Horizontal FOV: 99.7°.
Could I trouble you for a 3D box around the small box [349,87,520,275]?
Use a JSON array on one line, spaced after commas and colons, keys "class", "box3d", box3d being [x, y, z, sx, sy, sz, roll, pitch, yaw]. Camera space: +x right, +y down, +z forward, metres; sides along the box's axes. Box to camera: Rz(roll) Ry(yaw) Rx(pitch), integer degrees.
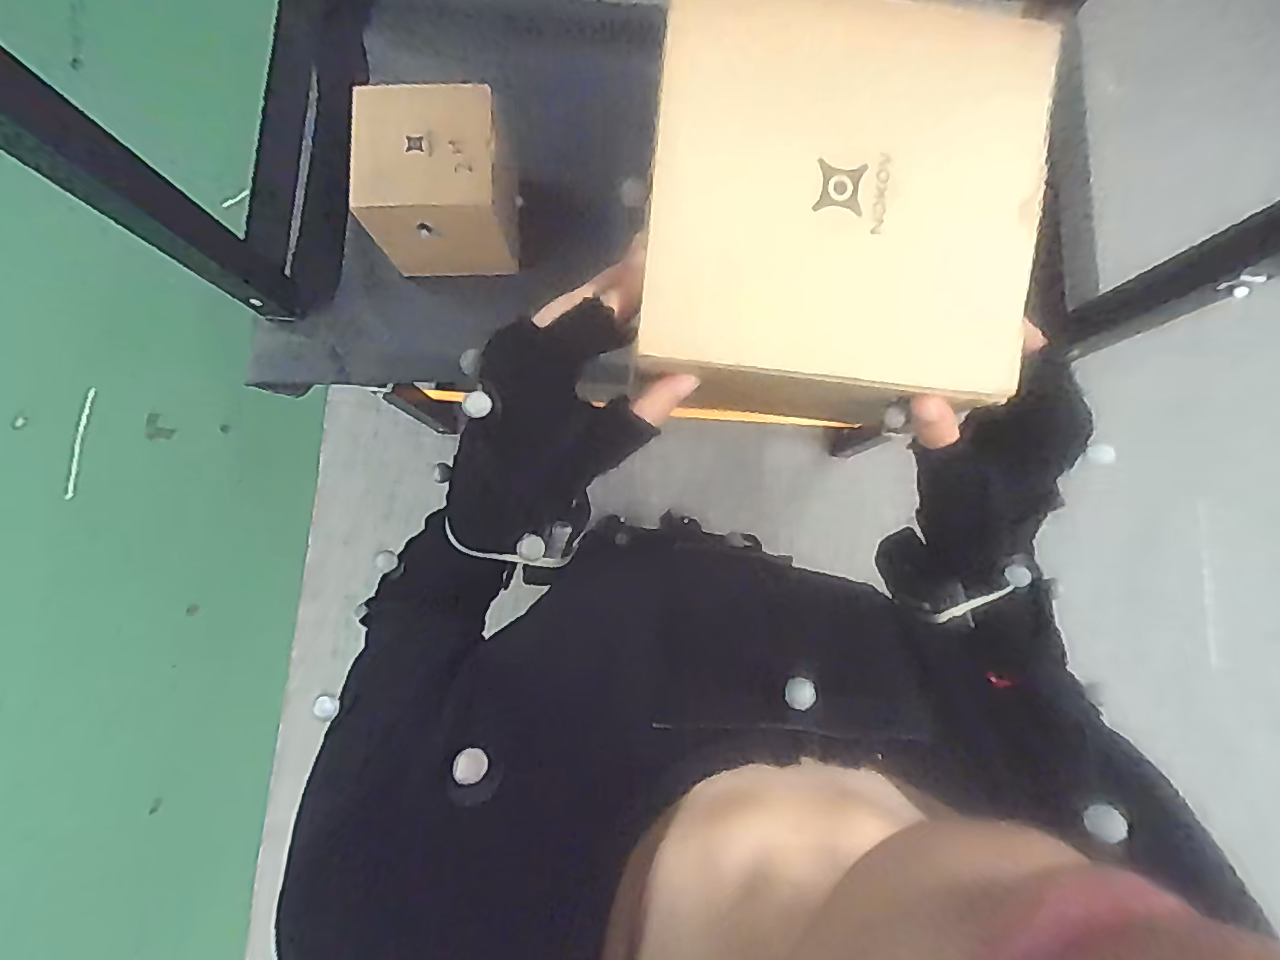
[{"class": "small box", "box3d": [-0.272, -0.401, 0.749, 0.179, 0.176, 0.168, -1, 83, -2]}]
